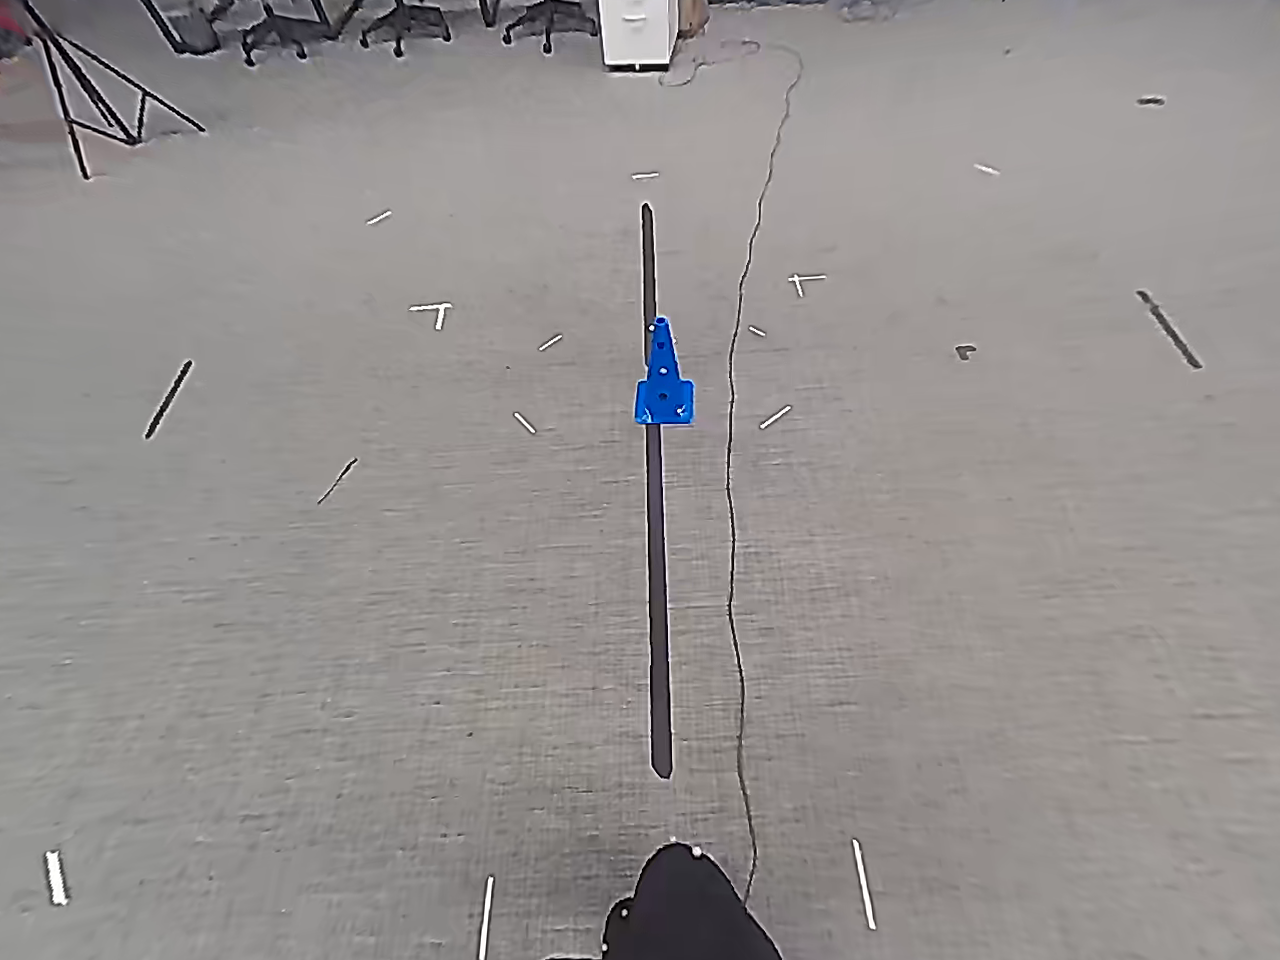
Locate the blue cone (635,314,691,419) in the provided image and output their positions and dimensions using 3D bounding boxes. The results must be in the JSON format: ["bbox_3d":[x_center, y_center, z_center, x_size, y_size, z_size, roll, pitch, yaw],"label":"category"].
[{"bbox_3d":[0.071,-0.377,1.734,0.193,0.380,0.192,0,56,3],"label":"blue cone"}]
